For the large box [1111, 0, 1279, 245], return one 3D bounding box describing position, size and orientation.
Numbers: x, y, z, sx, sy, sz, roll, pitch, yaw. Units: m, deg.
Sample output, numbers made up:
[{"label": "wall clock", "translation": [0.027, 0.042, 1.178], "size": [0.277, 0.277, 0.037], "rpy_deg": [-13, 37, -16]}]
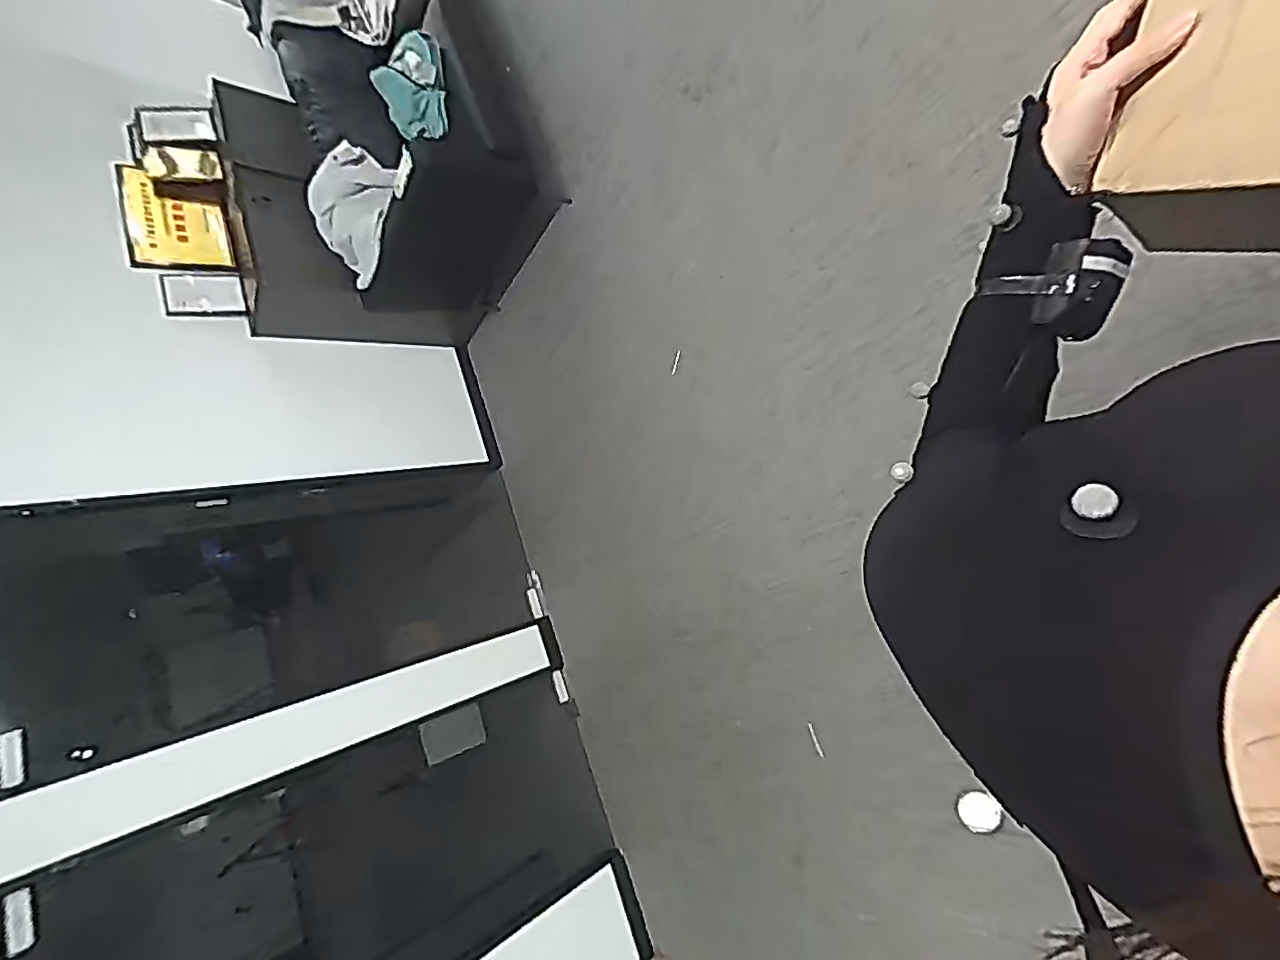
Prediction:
[{"label": "large box", "translation": [0.588, -0.329, 0.311], "size": [0.408, 0.320, 0.320], "rpy_deg": [22, 114, 43]}]
